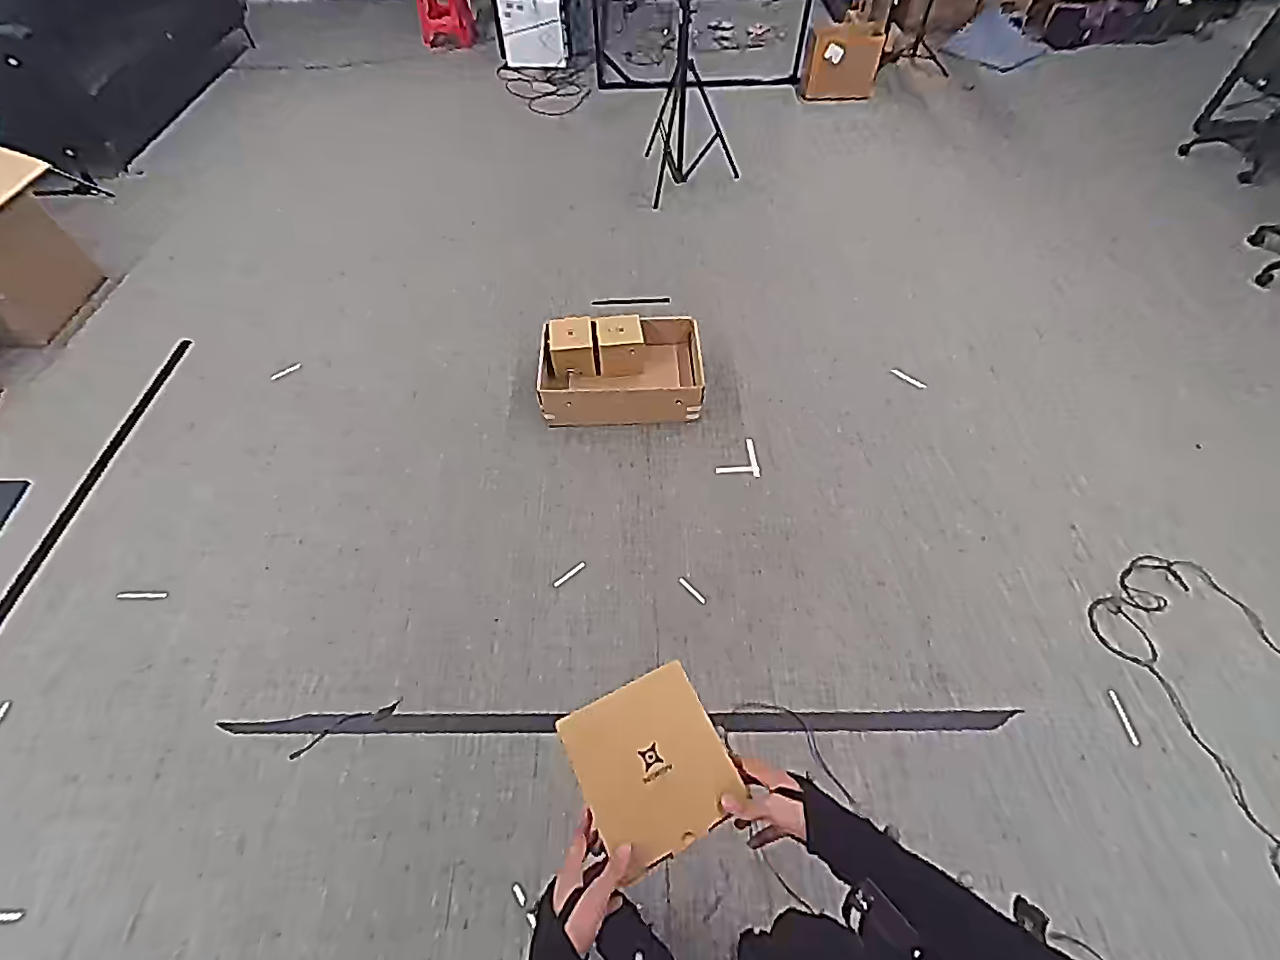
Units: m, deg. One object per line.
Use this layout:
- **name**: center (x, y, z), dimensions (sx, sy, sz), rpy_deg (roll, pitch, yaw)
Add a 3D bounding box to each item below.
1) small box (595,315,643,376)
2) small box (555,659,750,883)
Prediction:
- **small box**: center (-0.084, -0.534, 2.158), dimensions (0.179, 0.176, 0.168), rpy_deg (-6, 56, -4)
- **small box**: center (0.004, 0.355, 0.669), dimensions (0.168, 0.176, 0.179), rpy_deg (-22, 63, -18)
